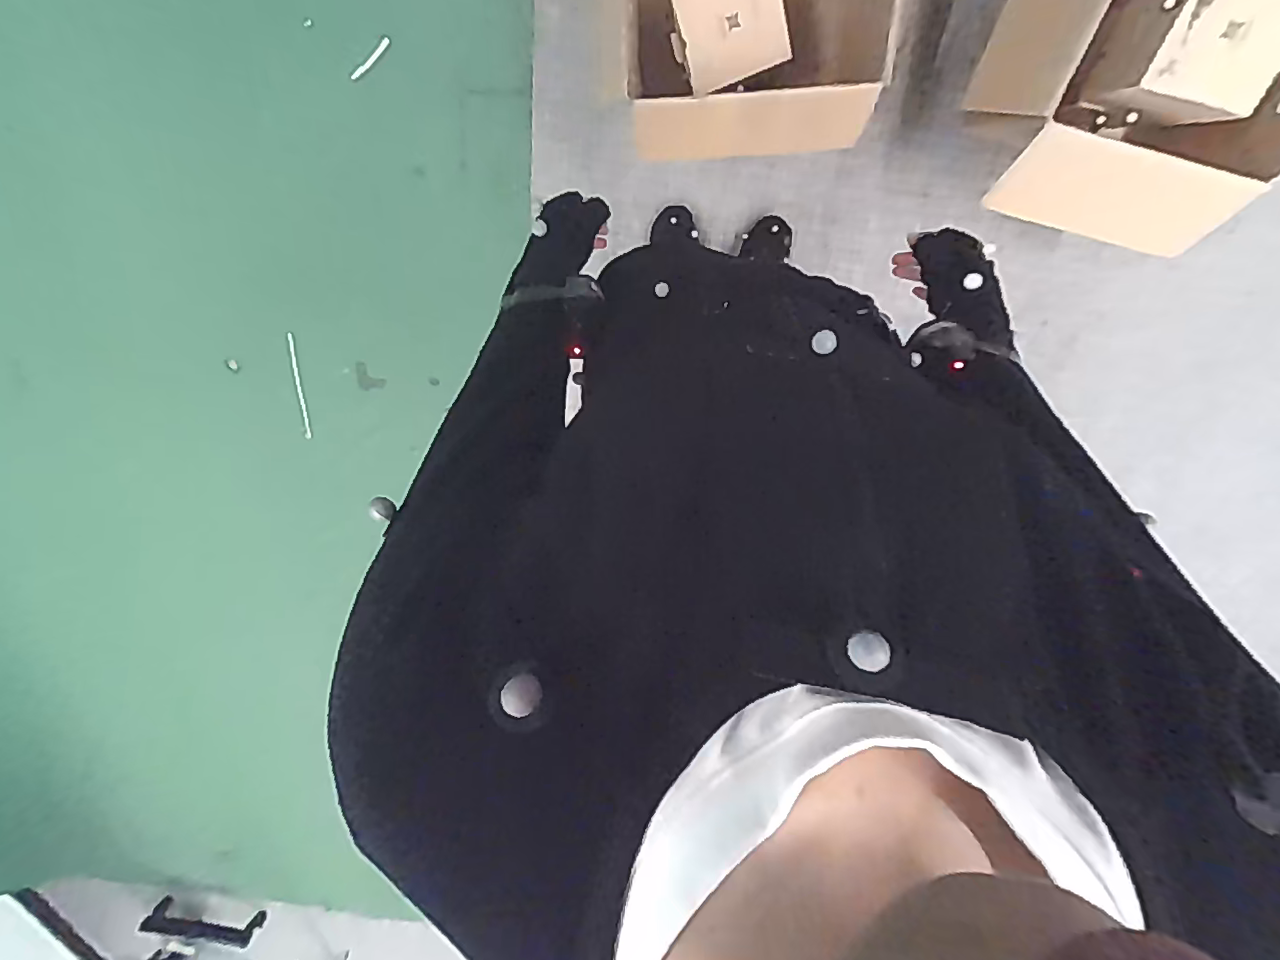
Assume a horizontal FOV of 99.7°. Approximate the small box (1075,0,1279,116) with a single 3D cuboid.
[{"bbox_3d":[0.842,-0.677,0.831,0.179,0.176,0.168,13,120,-2],"label":"small box"}]
